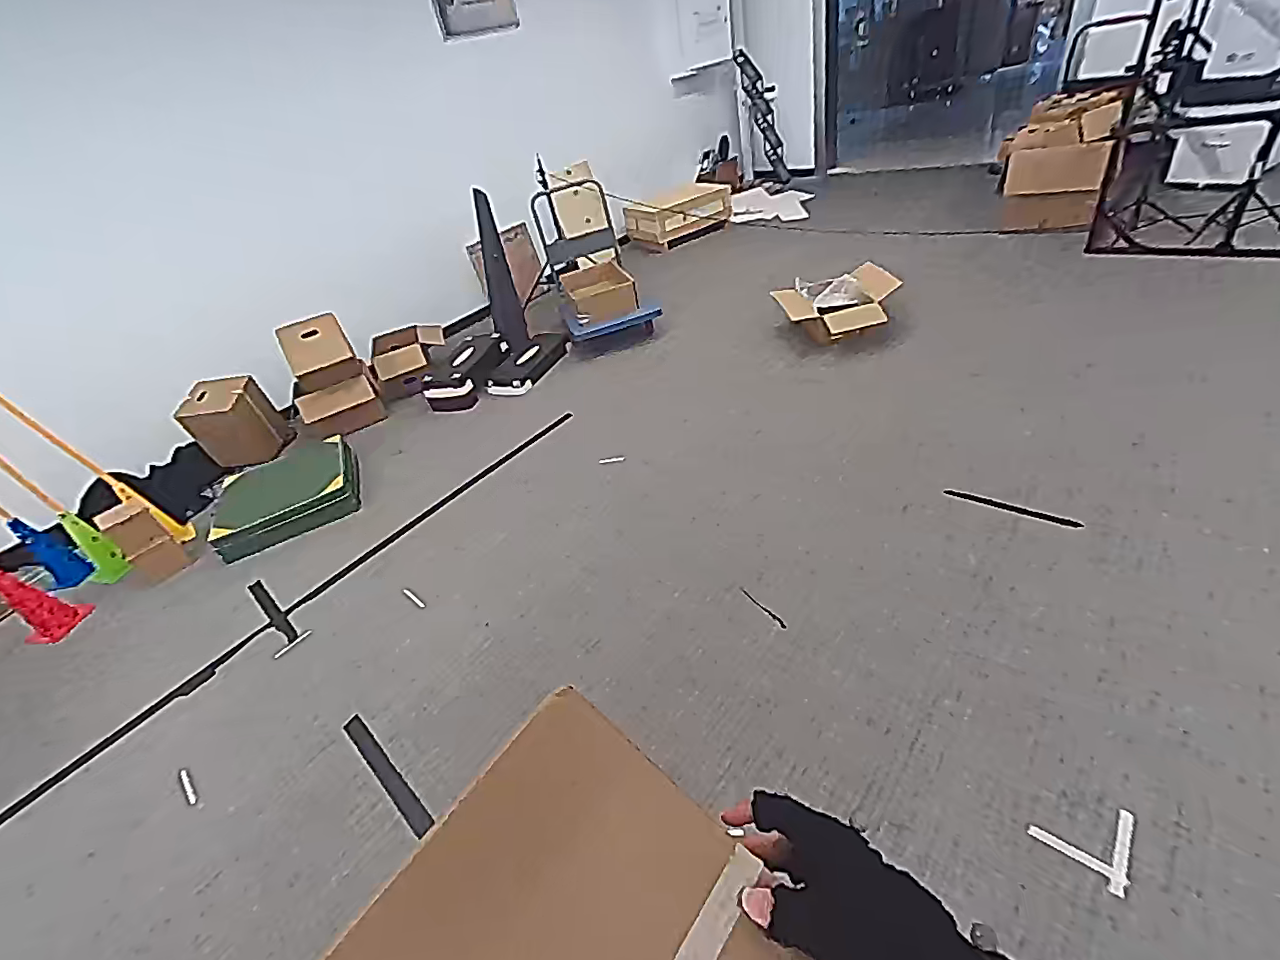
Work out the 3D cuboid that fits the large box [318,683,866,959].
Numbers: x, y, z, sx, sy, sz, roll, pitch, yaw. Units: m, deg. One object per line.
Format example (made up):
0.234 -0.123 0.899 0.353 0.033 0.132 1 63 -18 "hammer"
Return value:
-0.095 0.425 0.375 0.320 0.320 0.408 41 59 7 "large box"
